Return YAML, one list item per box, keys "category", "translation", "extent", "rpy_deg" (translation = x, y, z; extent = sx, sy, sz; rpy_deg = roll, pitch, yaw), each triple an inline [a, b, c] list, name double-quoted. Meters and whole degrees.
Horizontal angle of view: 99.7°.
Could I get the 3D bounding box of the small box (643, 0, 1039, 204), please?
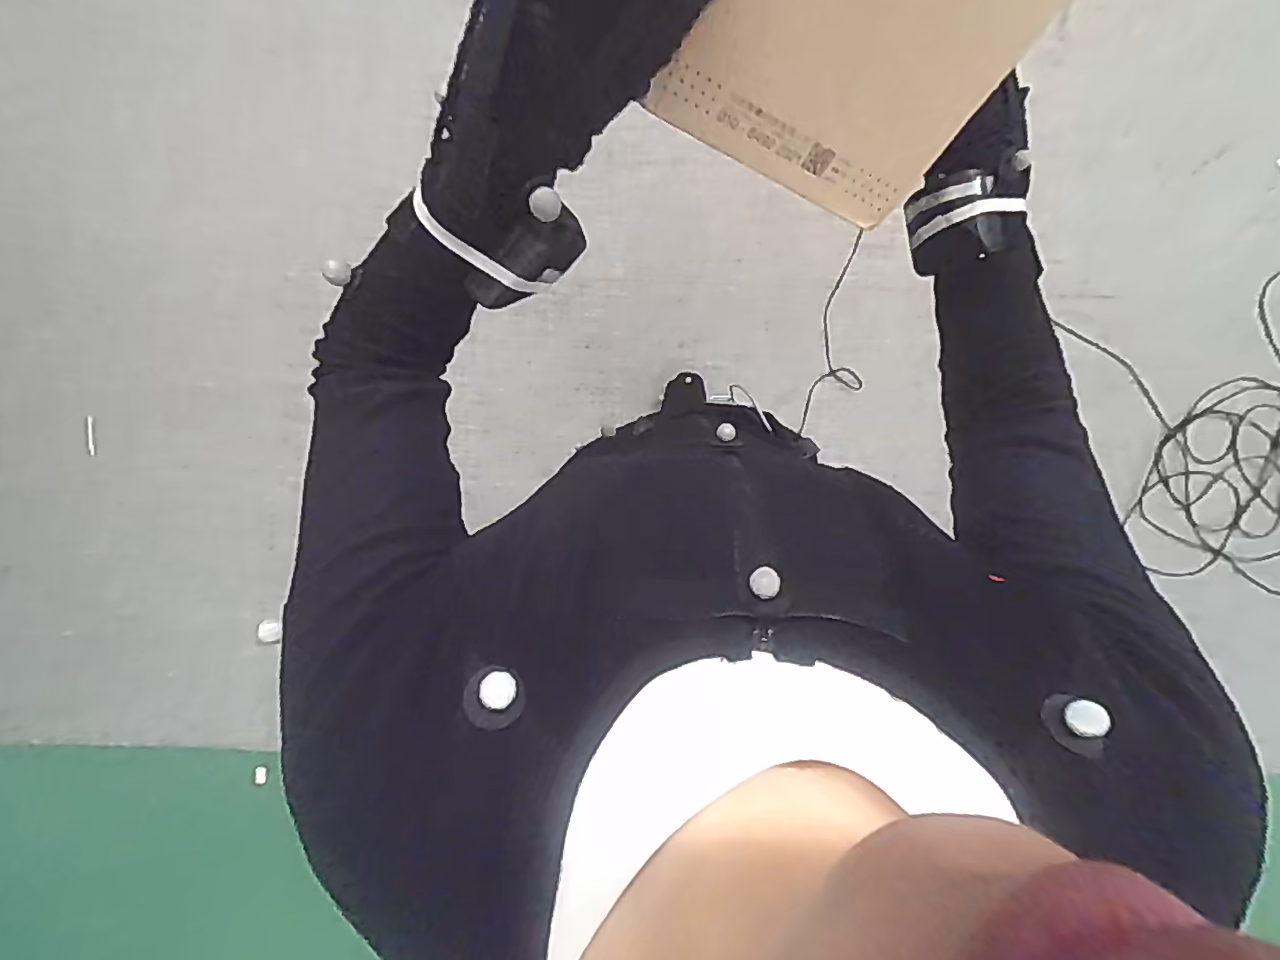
- category: "small box"
  translation: [0.109, -0.303, 0.314]
  extent: [0.168, 0.179, 0.176]
  rpy_deg: [17, 138, -18]
